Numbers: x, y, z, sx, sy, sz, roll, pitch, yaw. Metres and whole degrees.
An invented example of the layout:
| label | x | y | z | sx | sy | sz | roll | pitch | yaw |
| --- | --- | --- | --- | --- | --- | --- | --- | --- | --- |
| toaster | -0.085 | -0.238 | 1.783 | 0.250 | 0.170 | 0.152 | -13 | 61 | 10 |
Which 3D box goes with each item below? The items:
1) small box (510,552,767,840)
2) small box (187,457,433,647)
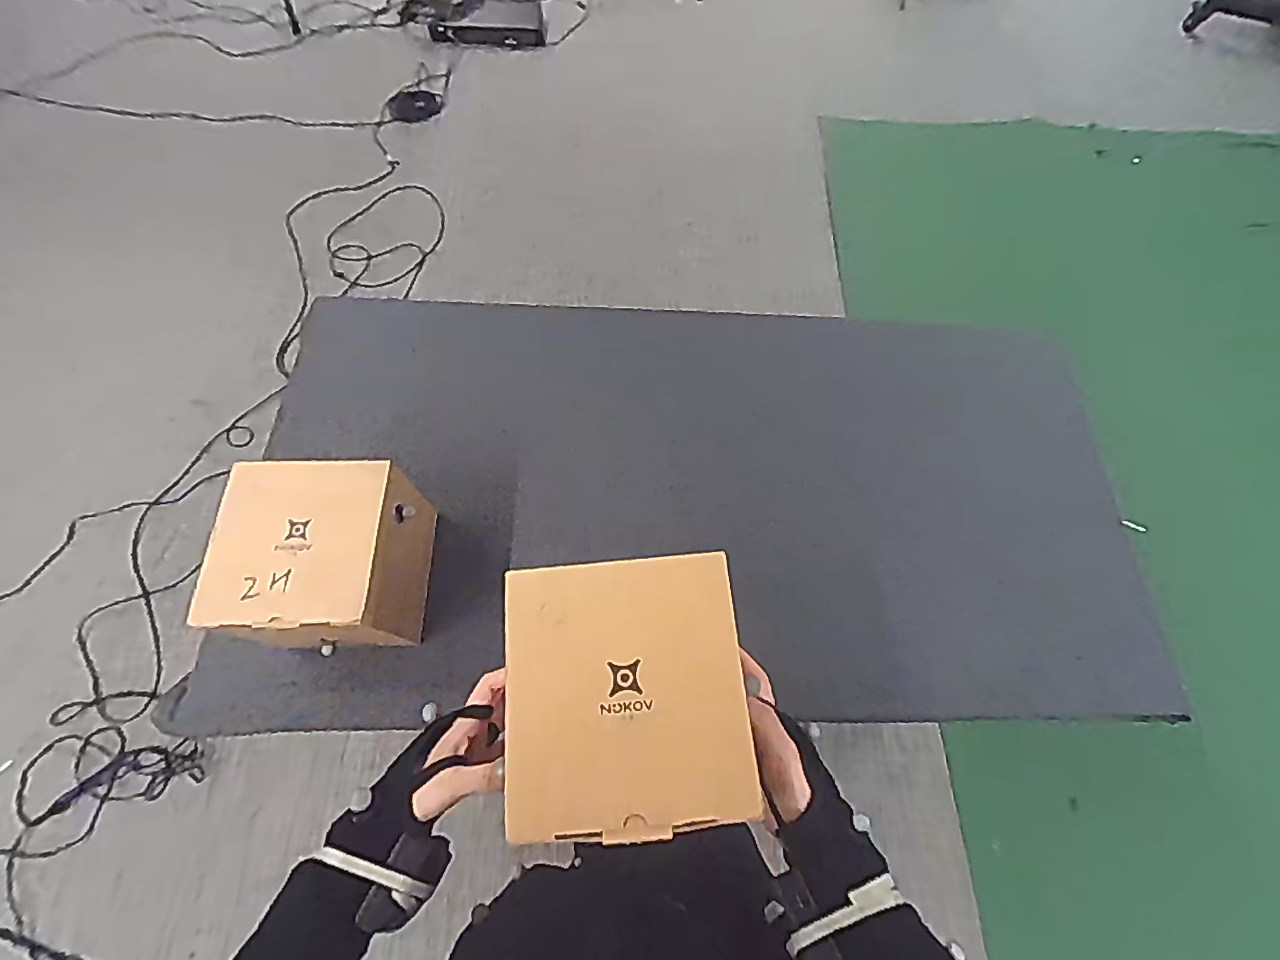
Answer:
| label | x | y | z | sx | sy | sz | roll | pitch | yaw |
| --- | --- | --- | --- | --- | --- | --- | --- | --- | --- |
| small box | -0.007 | 0.168 | 0.444 | 0.168 | 0.176 | 0.179 | -4 | 69 | -2 |
| small box | -0.348 | 0.088 | 0.616 | 0.168 | 0.176 | 0.179 | 0 | 66 | -3 |
